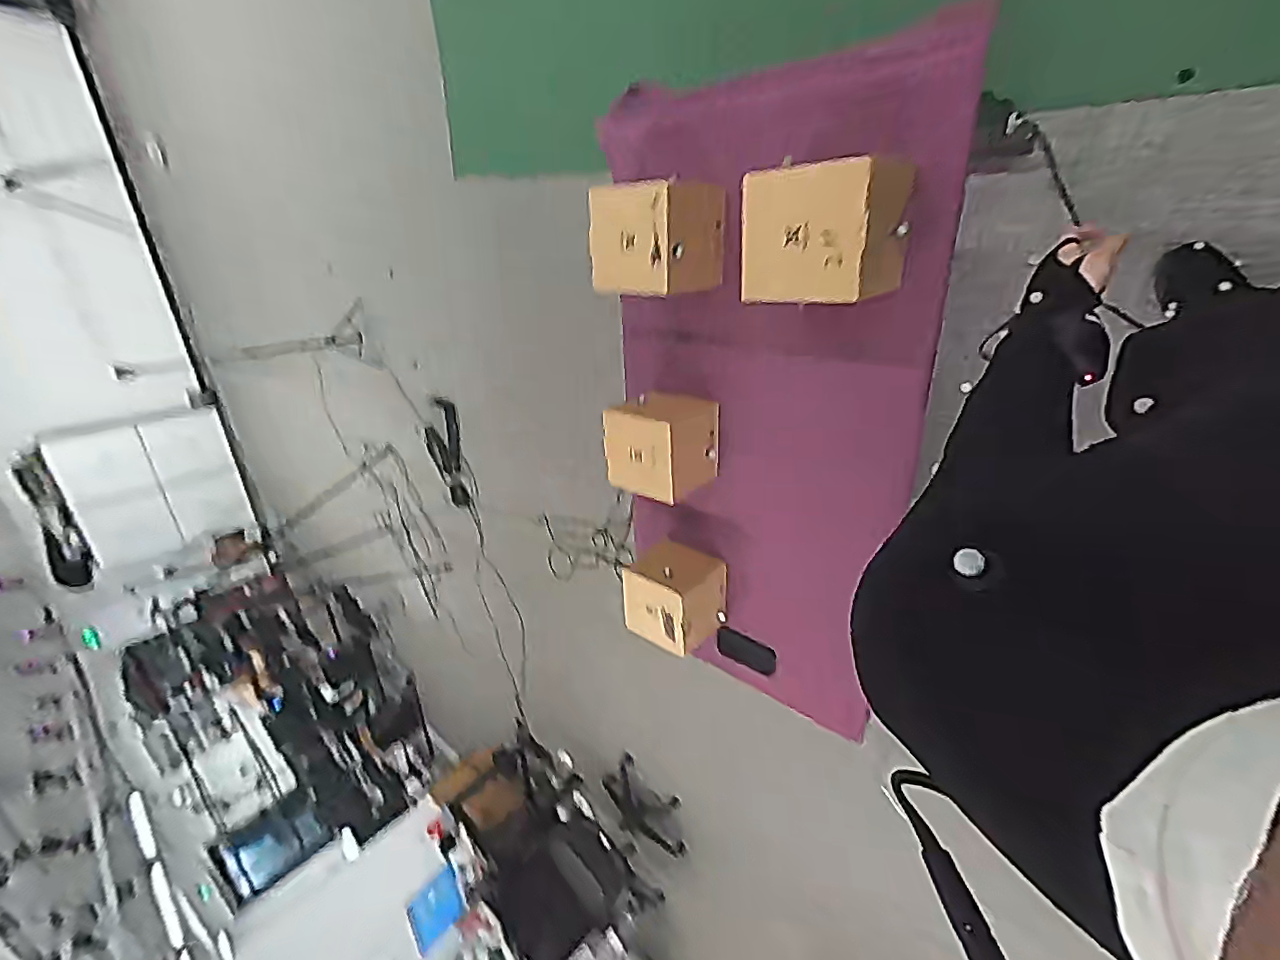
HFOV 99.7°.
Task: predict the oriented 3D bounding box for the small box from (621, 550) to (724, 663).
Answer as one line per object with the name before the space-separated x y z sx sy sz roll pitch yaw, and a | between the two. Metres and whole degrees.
small box | 0.079 0.281 1.247 0.179 0.176 0.168 17 119 39

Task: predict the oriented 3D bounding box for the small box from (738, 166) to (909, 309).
small box | 0.259 -0.342 0.776 0.179 0.176 0.168 16 121 38

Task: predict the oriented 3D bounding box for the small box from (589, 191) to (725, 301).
small box | 0.030 -0.418 0.970 0.179 0.176 0.168 19 122 38

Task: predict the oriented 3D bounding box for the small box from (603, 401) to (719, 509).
small box | 0.045 -0.062 1.124 0.179 0.176 0.168 16 120 38
